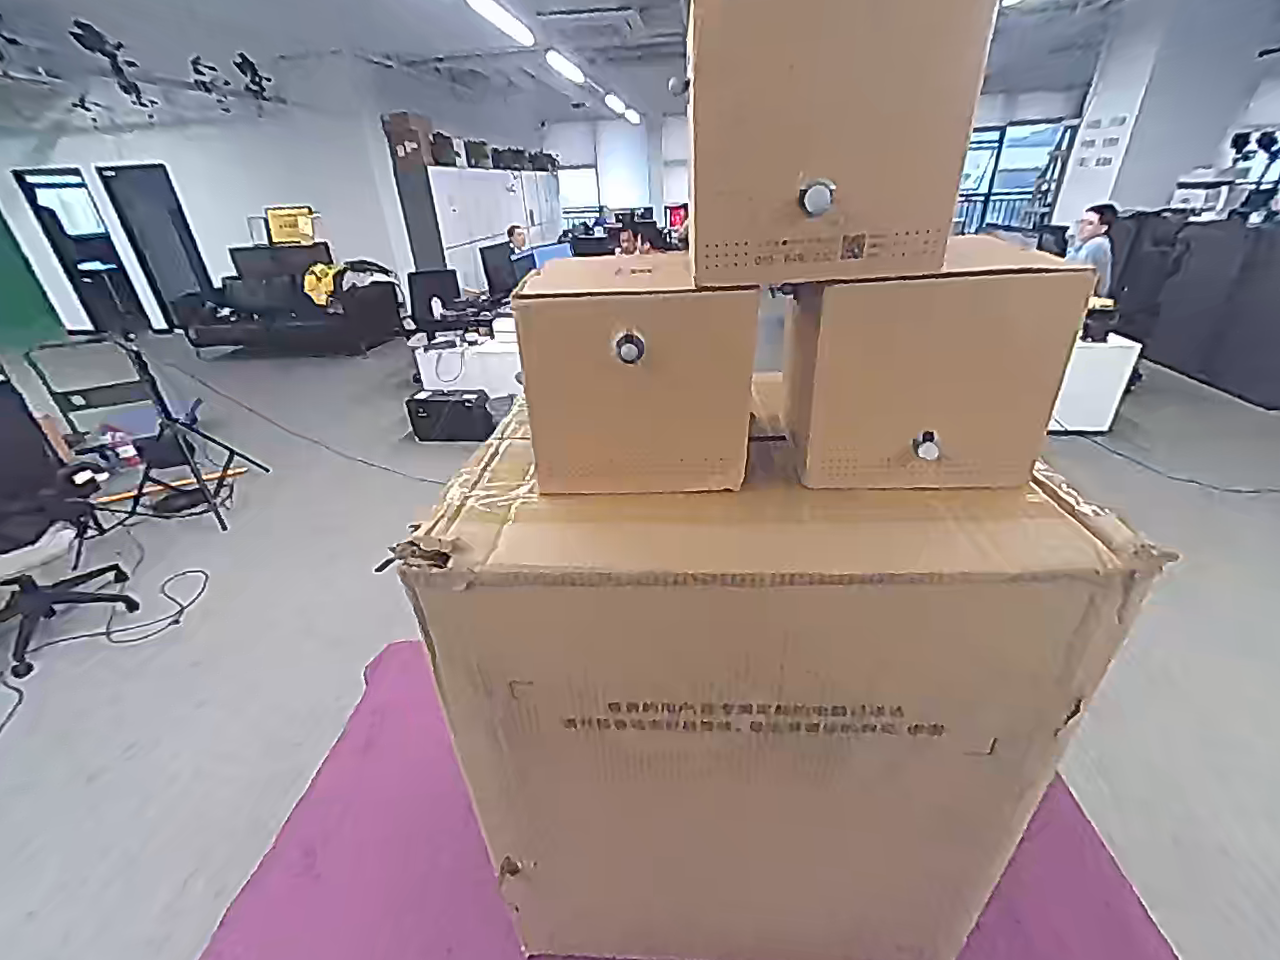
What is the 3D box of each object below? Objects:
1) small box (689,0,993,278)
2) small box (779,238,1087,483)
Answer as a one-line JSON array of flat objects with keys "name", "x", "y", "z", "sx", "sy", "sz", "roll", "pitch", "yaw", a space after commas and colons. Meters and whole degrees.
[{"name": "small box", "x": 0.119, "y": -0.251, "z": 0.402, "sx": 0.168, "sy": 0.176, "sz": 0.179, "roll": -2, "pitch": 30, "yaw": 5}, {"name": "small box", "x": 0.224, "y": -0.107, "z": 0.473, "sx": 0.179, "sy": 0.176, "sz": 0.168, "roll": -1, "pitch": 29, "yaw": 7}]
